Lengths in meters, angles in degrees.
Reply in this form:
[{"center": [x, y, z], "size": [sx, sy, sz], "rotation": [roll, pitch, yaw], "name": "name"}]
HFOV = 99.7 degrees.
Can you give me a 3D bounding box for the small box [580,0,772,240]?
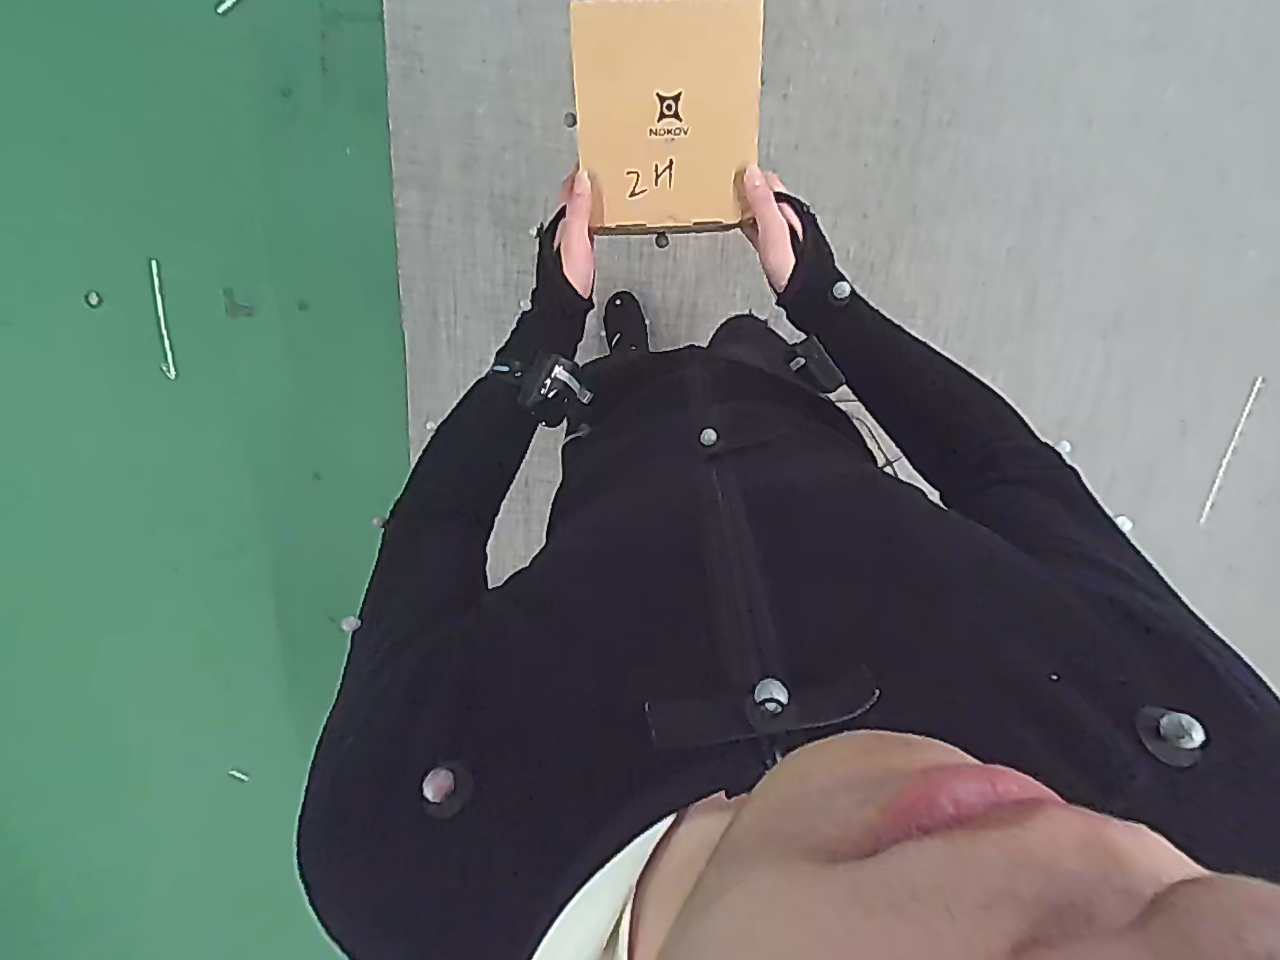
[{"center": [0.029, -0.348, 0.553], "size": [0.168, 0.176, 0.179], "rotation": [-1, 111, 0], "name": "small box"}]
